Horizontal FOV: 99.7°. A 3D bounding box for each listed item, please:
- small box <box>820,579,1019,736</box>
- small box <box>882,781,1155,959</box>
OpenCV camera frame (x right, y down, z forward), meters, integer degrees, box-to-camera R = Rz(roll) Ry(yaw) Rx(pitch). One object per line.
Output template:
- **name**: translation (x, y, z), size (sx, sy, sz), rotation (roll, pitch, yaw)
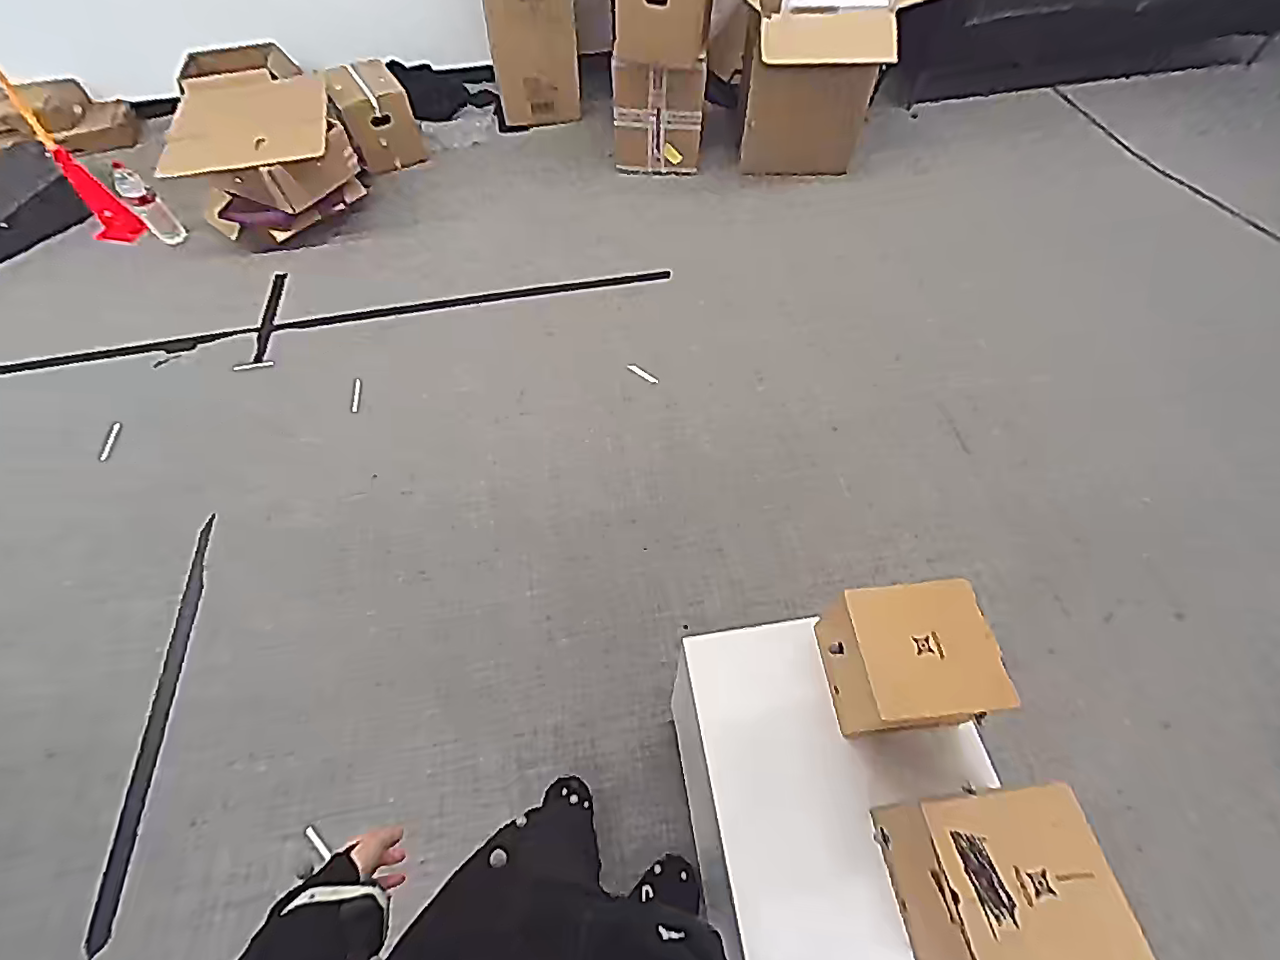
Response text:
- **small box**: translation (0.366, 0.253, 0.755), size (0.179, 0.176, 0.168), rotation (-5, 58, -2)
- **small box**: translation (0.405, 0.457, 0.624), size (0.179, 0.176, 0.168), rotation (-7, 58, -4)
